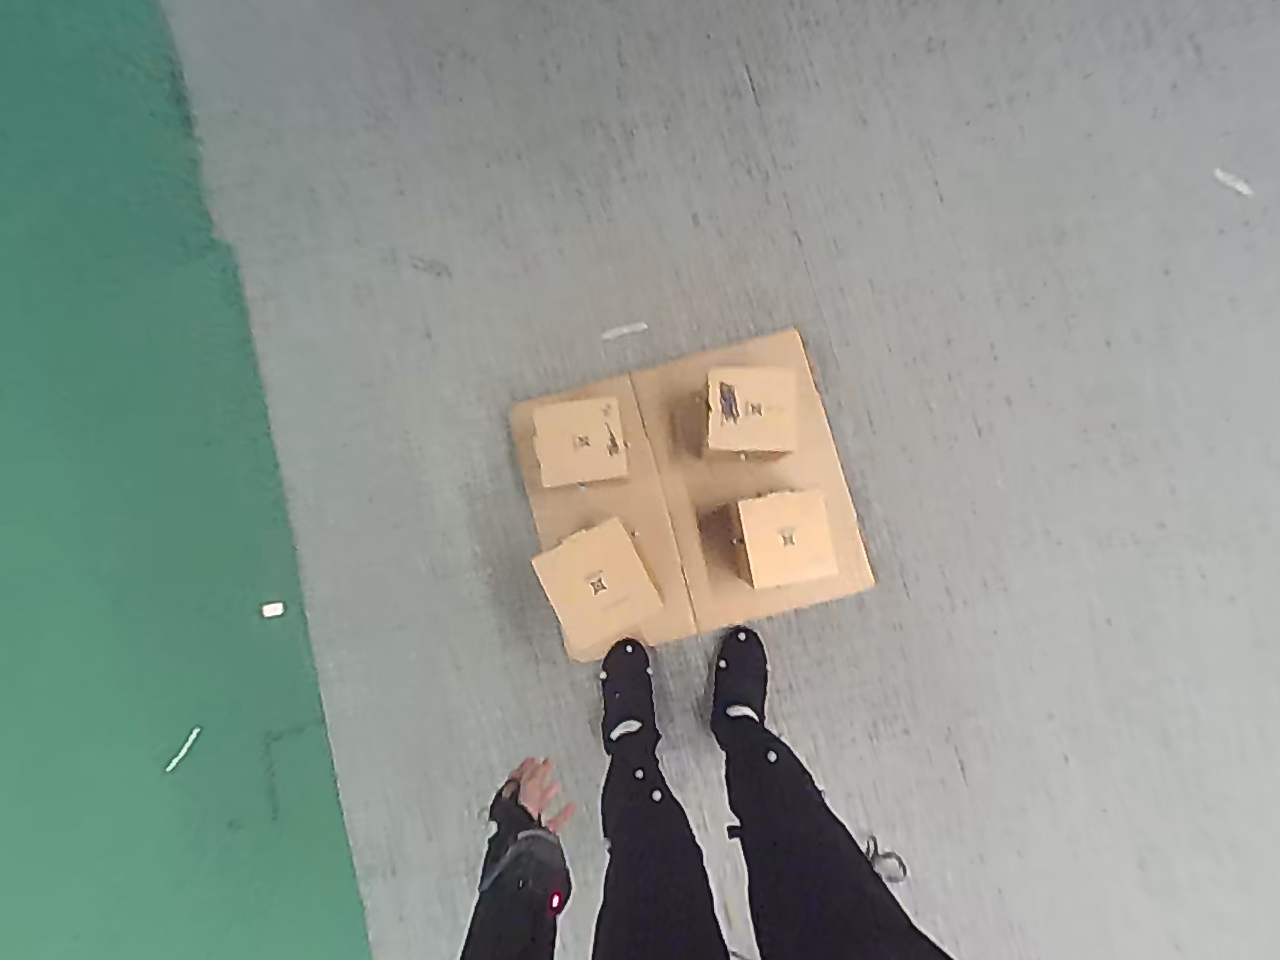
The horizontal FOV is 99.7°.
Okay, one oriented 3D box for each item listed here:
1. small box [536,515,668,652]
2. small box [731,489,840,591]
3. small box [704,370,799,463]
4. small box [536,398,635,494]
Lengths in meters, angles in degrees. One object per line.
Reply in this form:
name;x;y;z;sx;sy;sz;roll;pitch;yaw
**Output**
small box;-0.062;0.177;0.962;0.168;0.176;0.179;-27;84;1
small box;0.290;0.121;1.113;0.168;0.176;0.179;-11;84;1
small box;0.227;-0.127;1.137;0.179;0.176;0.168;1;85;1
small box;-0.110;-0.066;1.152;0.179;0.176;0.168;-8;84;2
